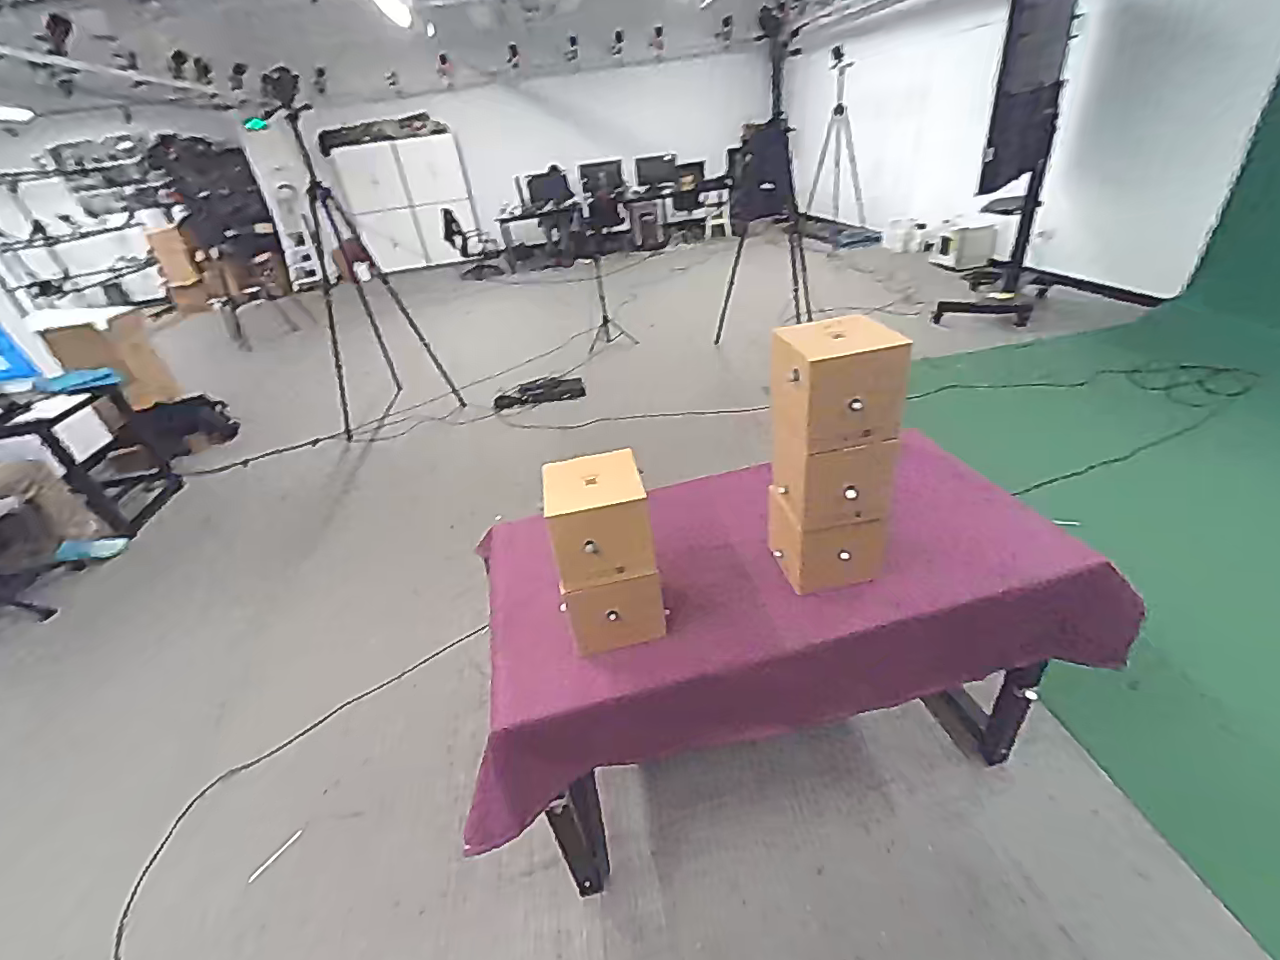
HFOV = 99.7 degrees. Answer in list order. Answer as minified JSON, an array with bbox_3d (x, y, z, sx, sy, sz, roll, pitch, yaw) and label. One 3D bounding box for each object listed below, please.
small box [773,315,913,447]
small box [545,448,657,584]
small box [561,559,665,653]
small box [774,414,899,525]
[{"bbox_3d":[0.337,-0.166,0.930,0.168,0.176,0.179,-10,32,-3],"label":"small box"},{"bbox_3d":[-0.070,0.068,0.966,0.168,0.176,0.179,-11,31,-4],"label":"small box"},{"bbox_3d":[-0.053,0.206,1.051,0.179,0.176,0.168,-12,32,-5],"label":"small box"},{"bbox_3d":[0.360,-0.029,1.020,0.168,0.176,0.179,-9,33,-2],"label":"small box"}]
